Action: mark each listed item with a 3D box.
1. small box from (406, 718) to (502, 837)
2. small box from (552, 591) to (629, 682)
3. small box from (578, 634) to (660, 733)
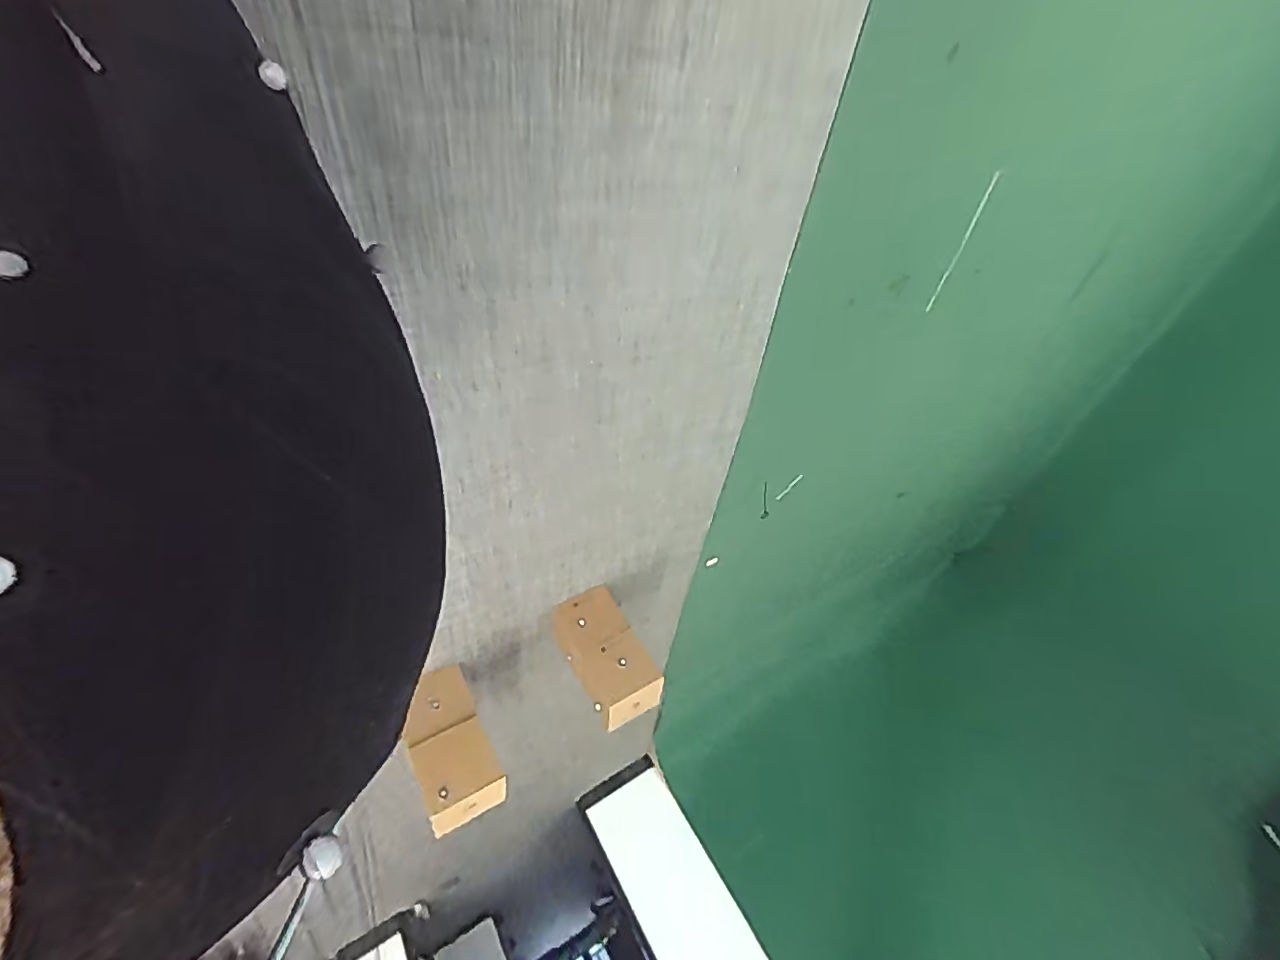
[{"bbox_3d":[-0.449,0.715,1.314,0.179,0.176,0.168,-17,140,-29],"label":"small box"},{"bbox_3d":[-0.149,0.446,1.576,0.168,0.176,0.179,-20,141,-25],"label":"small box"},{"bbox_3d":[-0.062,0.548,1.481,0.168,0.176,0.179,-20,141,-23],"label":"small box"}]
